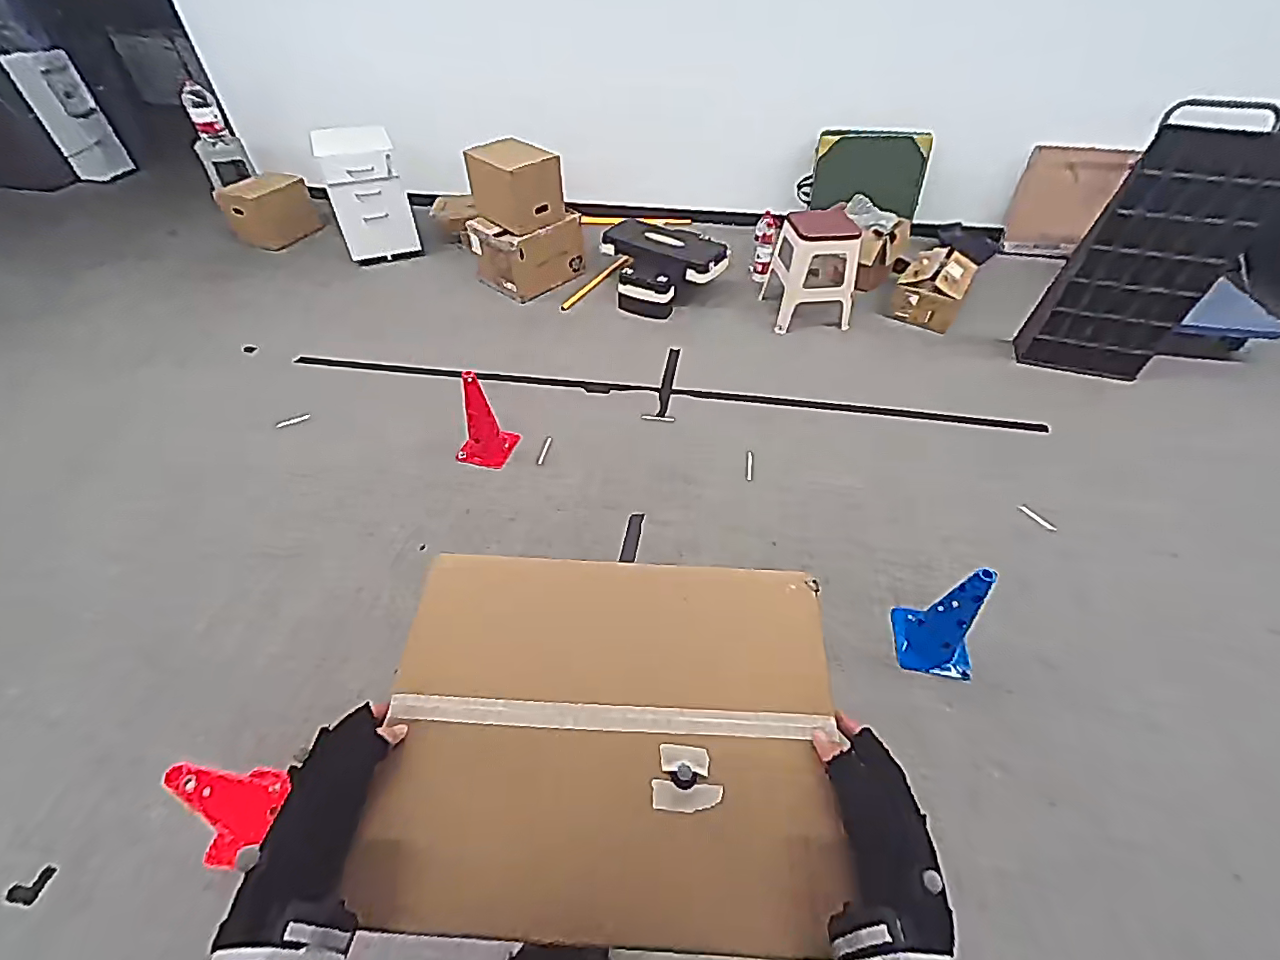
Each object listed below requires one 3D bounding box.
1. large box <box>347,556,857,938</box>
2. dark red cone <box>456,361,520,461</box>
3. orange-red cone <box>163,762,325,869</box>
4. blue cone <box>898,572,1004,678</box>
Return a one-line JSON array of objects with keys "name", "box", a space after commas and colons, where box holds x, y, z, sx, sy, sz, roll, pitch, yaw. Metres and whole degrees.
[{"name": "large box", "box": [-0.027, 0.305, 0.621, 0.408, 0.320, 0.320, 3, 54, 1]}, {"name": "dark red cone", "box": [-0.588, -0.265, 2.001, 0.201, 0.394, 0.202, 12, 48, 9]}, {"name": "orange-red cone", "box": [-0.873, 0.671, 1.144, 0.198, 0.360, 0.199, 5, 48, 5]}, {"name": "blue cone", "box": [0.861, 0.367, 1.464, 0.192, 0.380, 0.193, 10, 48, 8]}]
